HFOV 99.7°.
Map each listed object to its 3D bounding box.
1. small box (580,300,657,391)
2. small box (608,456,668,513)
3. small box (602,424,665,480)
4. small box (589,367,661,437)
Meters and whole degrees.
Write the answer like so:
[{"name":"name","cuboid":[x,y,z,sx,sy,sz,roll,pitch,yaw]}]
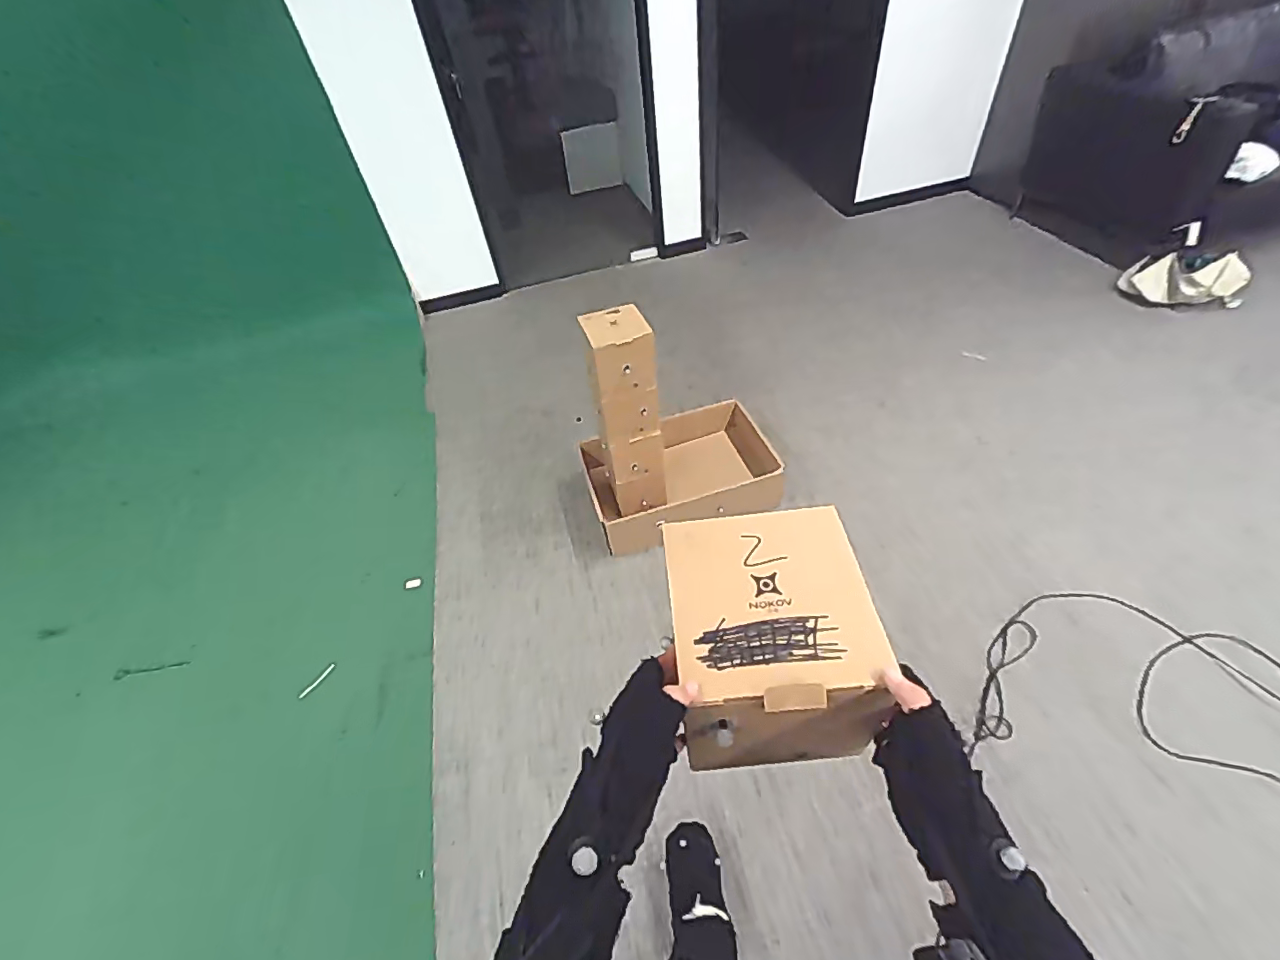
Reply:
[{"name":"small box","cuboid":[-0.057,-0.361,1.481,0.168,0.176,0.179,-16,48,-10]},{"name":"small box","cuboid":[-0.008,-0.017,1.826,0.168,0.176,0.179,-15,47,-6]},{"name":"small box","cuboid":[-0.024,-0.130,1.710,0.168,0.176,0.179,-15,47,-8]},{"name":"small box","cuboid":[-0.042,-0.246,1.596,0.168,0.176,0.179,-16,47,-9]}]
